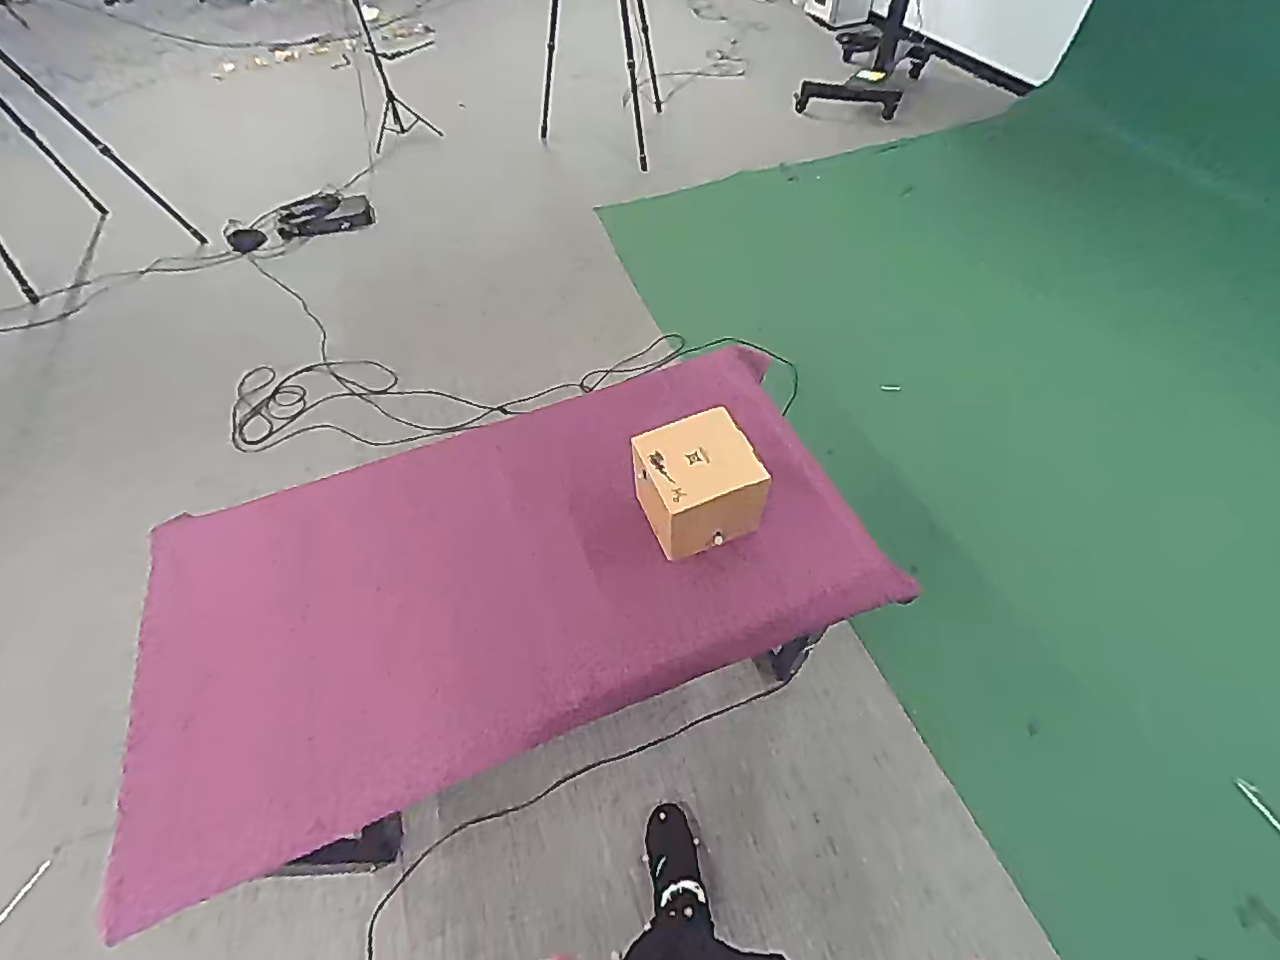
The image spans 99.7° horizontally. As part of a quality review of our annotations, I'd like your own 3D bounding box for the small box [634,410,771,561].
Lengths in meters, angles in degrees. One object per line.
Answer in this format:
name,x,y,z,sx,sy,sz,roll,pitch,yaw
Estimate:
small box,0.098,0.013,0.932,0.179,0.176,0.168,-19,56,-11
